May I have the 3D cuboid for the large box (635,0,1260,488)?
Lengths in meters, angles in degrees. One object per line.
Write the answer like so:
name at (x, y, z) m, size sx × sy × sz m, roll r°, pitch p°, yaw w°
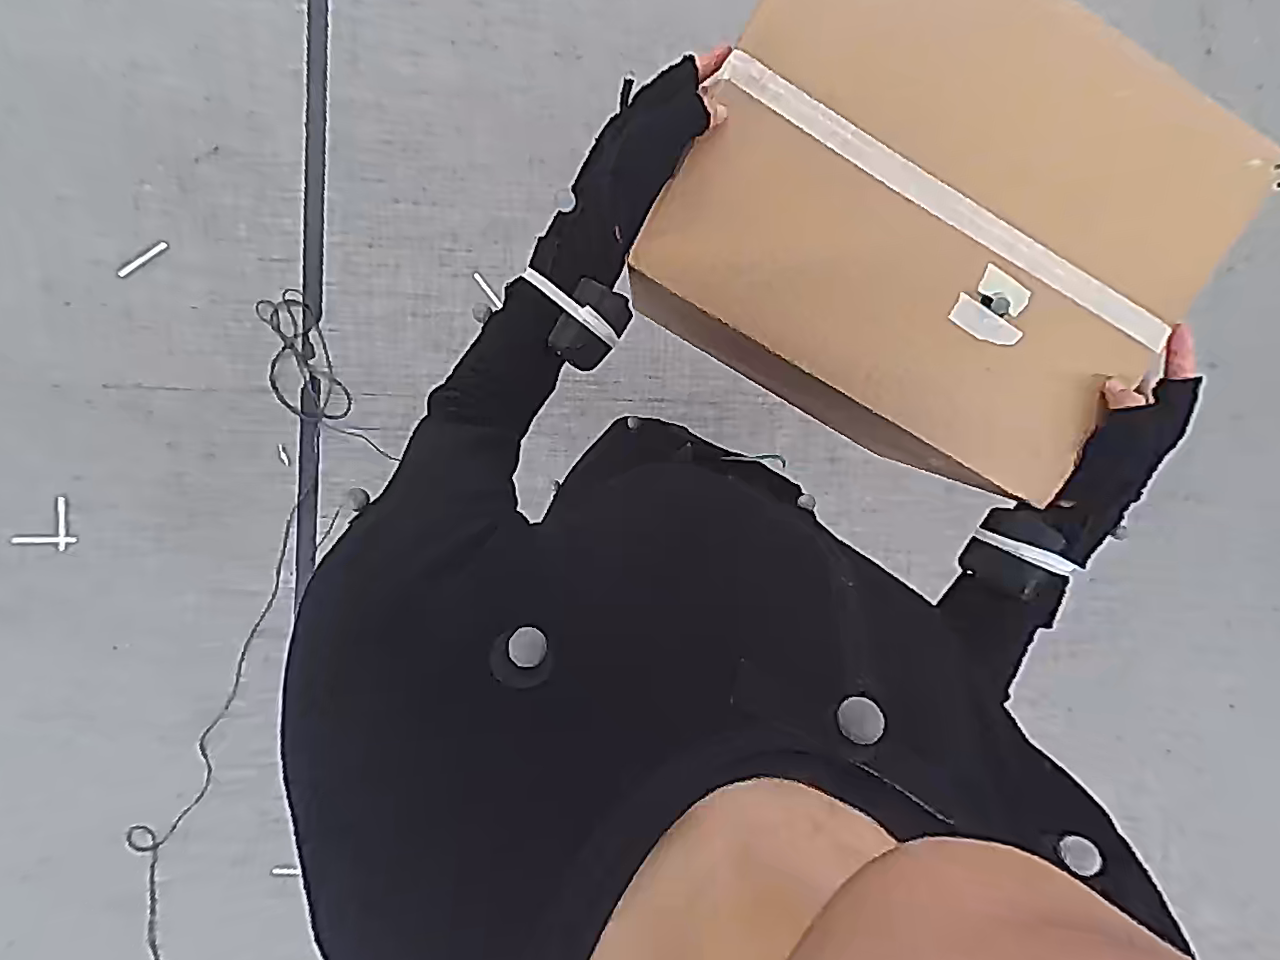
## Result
large box at (0.238, -0.243, 0.572) m, size 0.408 × 0.320 × 0.320 m, roll 30°, pitch 101°, yaw -6°
